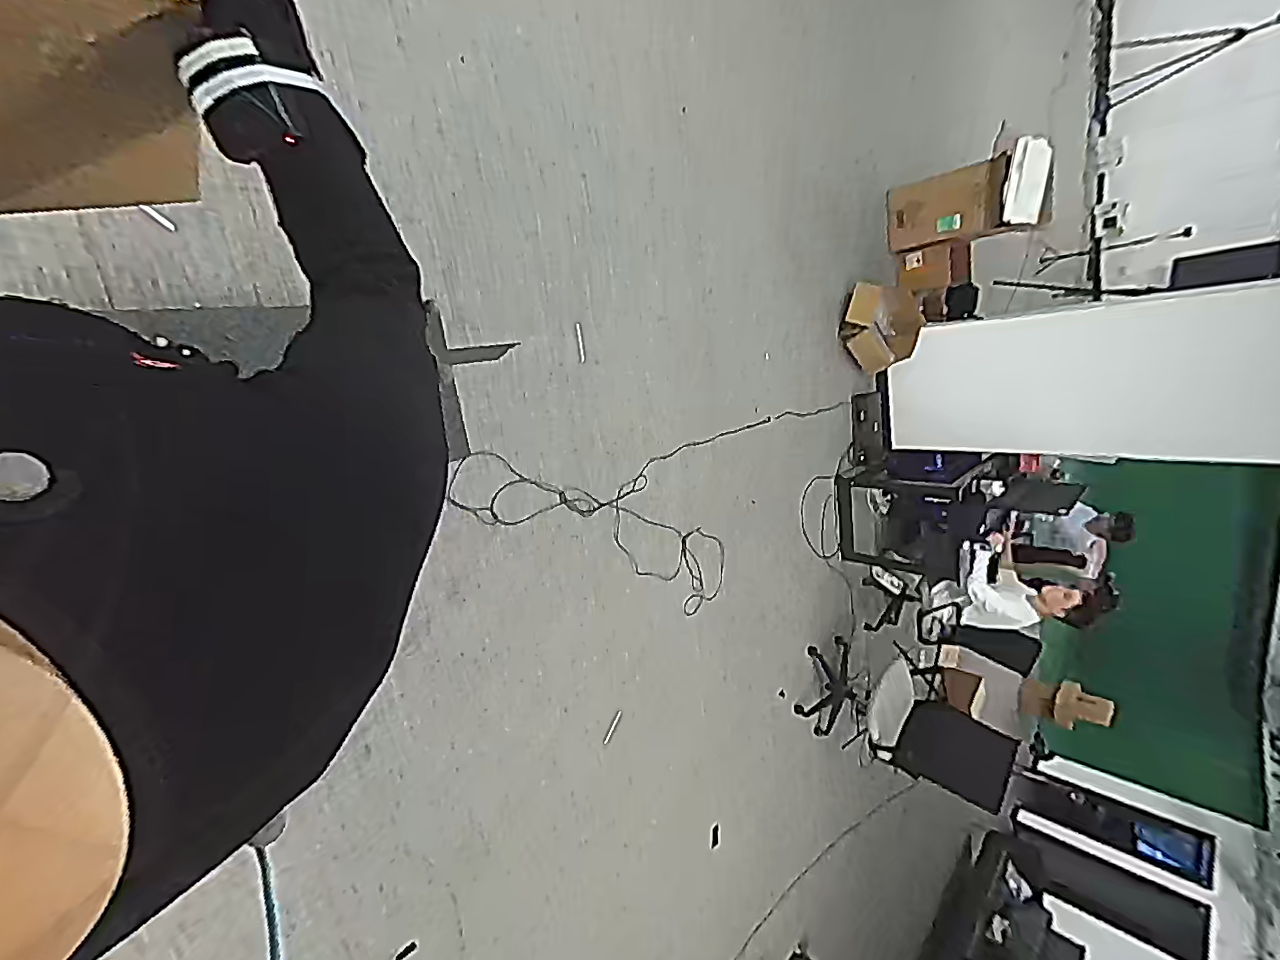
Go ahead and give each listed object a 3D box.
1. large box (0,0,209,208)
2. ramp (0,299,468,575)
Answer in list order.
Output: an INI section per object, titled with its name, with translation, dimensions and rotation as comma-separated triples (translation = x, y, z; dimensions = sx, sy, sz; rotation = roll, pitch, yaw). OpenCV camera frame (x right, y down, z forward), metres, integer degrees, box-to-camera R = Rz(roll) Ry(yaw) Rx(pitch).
[large box]
translation = -0.551, -0.367, 0.306
dimensions = 0.408, 0.320, 0.320
rotation = -27, 107, -36
[ramp]
translation = -0.896, -0.188, 1.340
dimensions = 0.991, 0.206, 0.509
rotation = -22, 108, -40
